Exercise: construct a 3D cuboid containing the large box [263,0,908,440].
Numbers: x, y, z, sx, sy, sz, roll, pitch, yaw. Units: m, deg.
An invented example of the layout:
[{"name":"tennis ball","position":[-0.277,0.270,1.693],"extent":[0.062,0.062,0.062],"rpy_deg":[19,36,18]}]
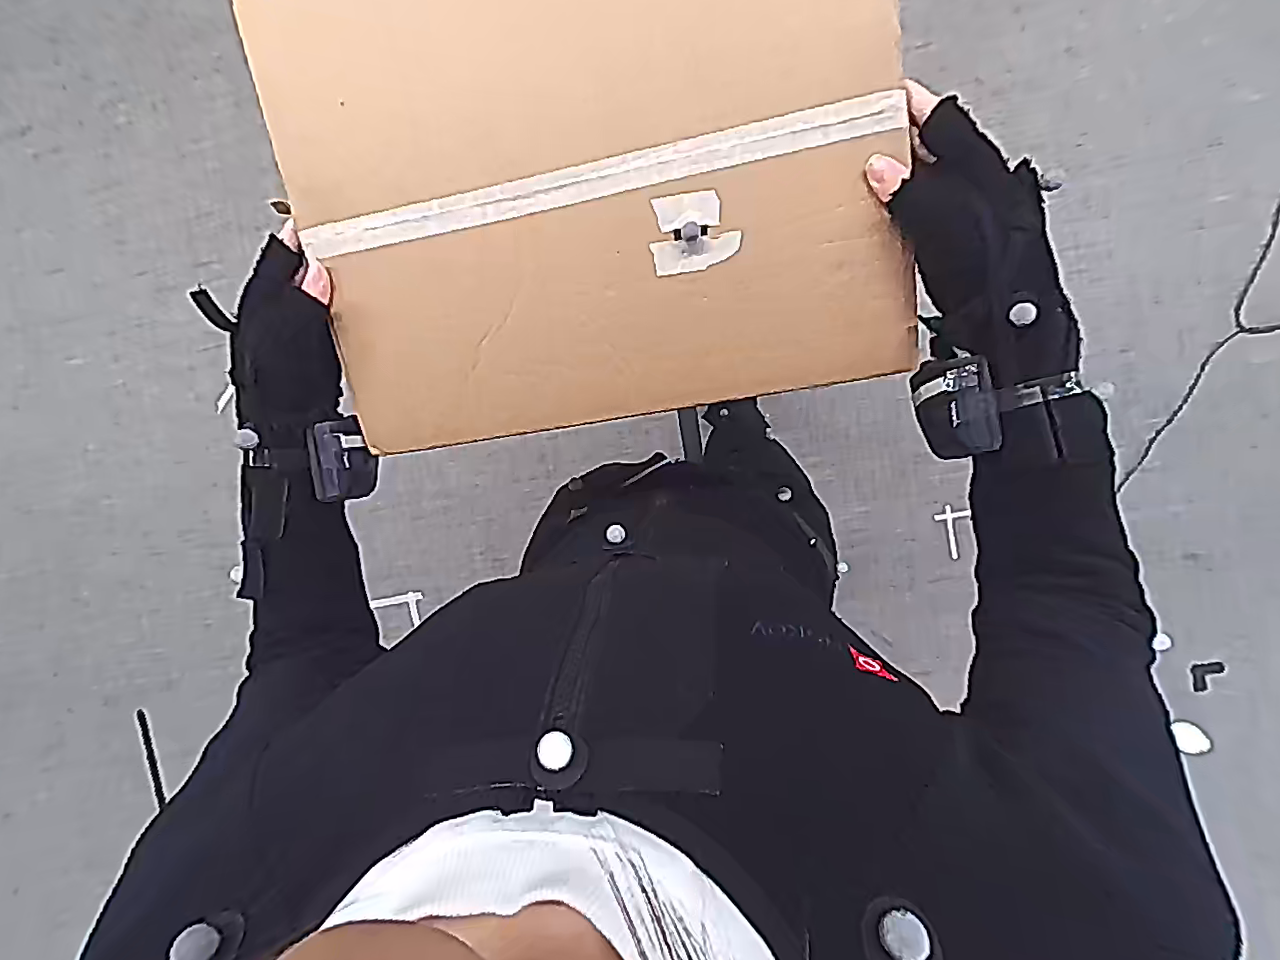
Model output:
[{"name":"large box","position":[-0.022,-0.245,0.512],"extent":[0.408,0.320,0.320],"rpy_deg":[-9,105,7]}]
